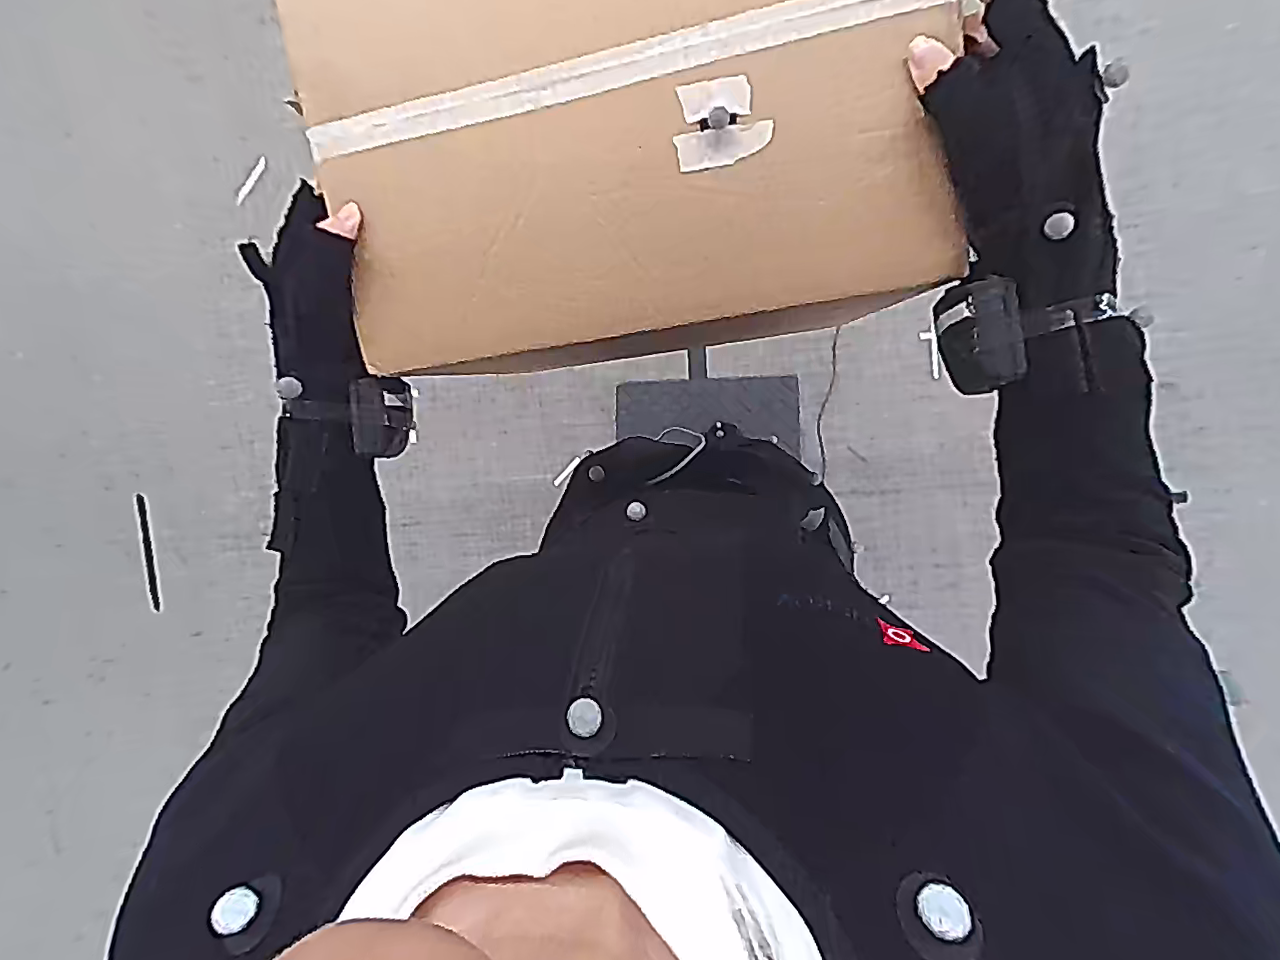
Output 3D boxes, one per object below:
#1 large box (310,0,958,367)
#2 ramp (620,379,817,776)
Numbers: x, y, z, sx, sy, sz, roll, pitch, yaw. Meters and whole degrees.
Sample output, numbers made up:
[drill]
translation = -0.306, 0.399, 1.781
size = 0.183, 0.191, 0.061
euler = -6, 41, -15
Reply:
[large box]
translation = 0.003, -0.292, 0.493
size = 0.408, 0.320, 0.320
euler = -7, 101, 9
[ramp]
translation = 0.187, 0.232, 1.416
size = 0.509, 0.206, 0.991
euler = -3, 92, 11
